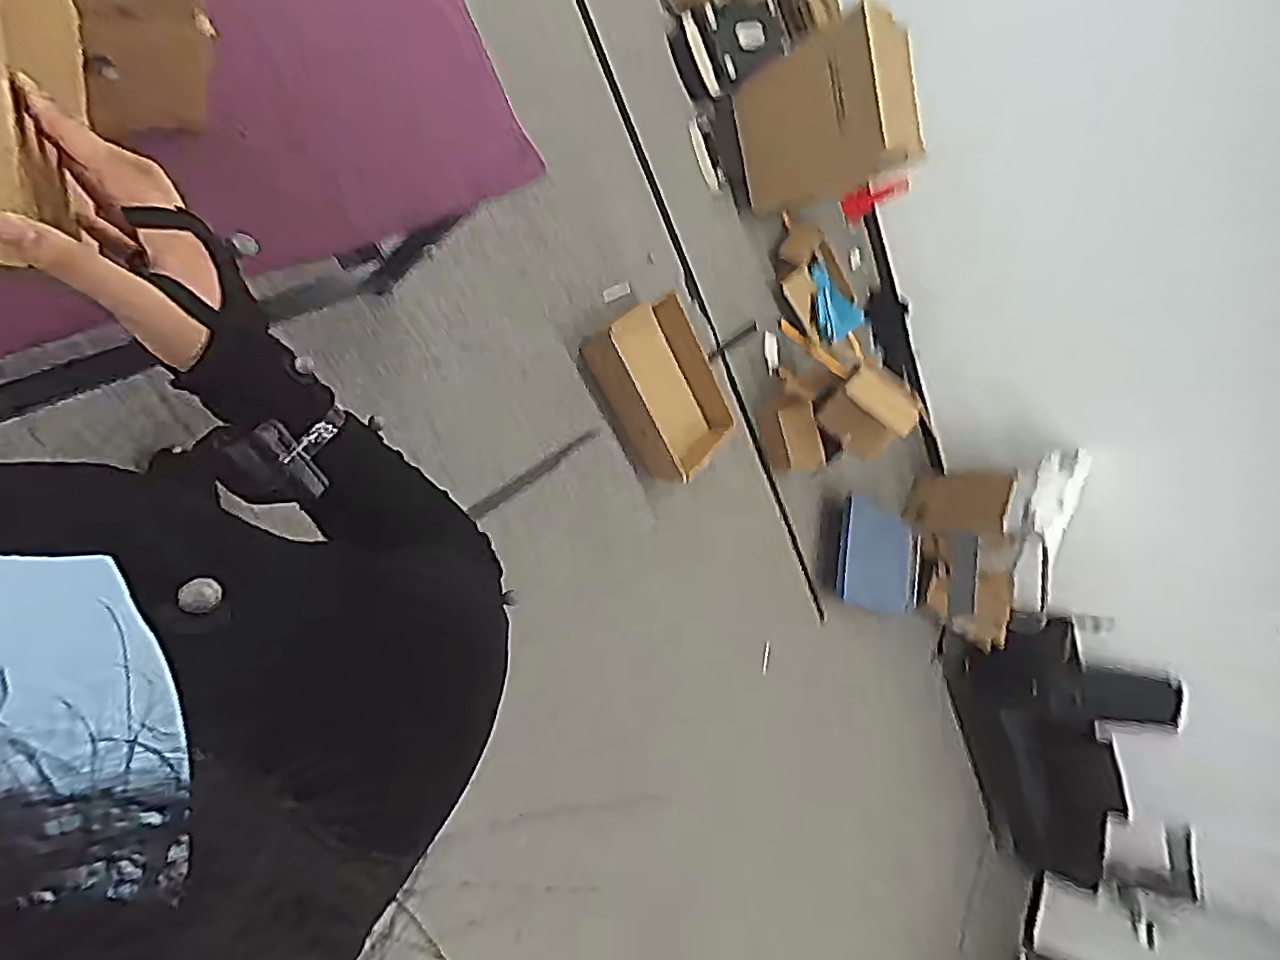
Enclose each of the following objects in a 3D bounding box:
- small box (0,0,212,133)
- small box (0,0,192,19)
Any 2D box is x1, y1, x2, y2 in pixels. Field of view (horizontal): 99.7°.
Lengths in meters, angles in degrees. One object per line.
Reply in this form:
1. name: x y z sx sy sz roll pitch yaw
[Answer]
1. small box: -0.556 -0.462 0.509 0.179 0.176 0.168 -40 114 -36
2. small box: -0.452 -0.472 0.382 0.168 0.176 0.179 -40 114 -37
